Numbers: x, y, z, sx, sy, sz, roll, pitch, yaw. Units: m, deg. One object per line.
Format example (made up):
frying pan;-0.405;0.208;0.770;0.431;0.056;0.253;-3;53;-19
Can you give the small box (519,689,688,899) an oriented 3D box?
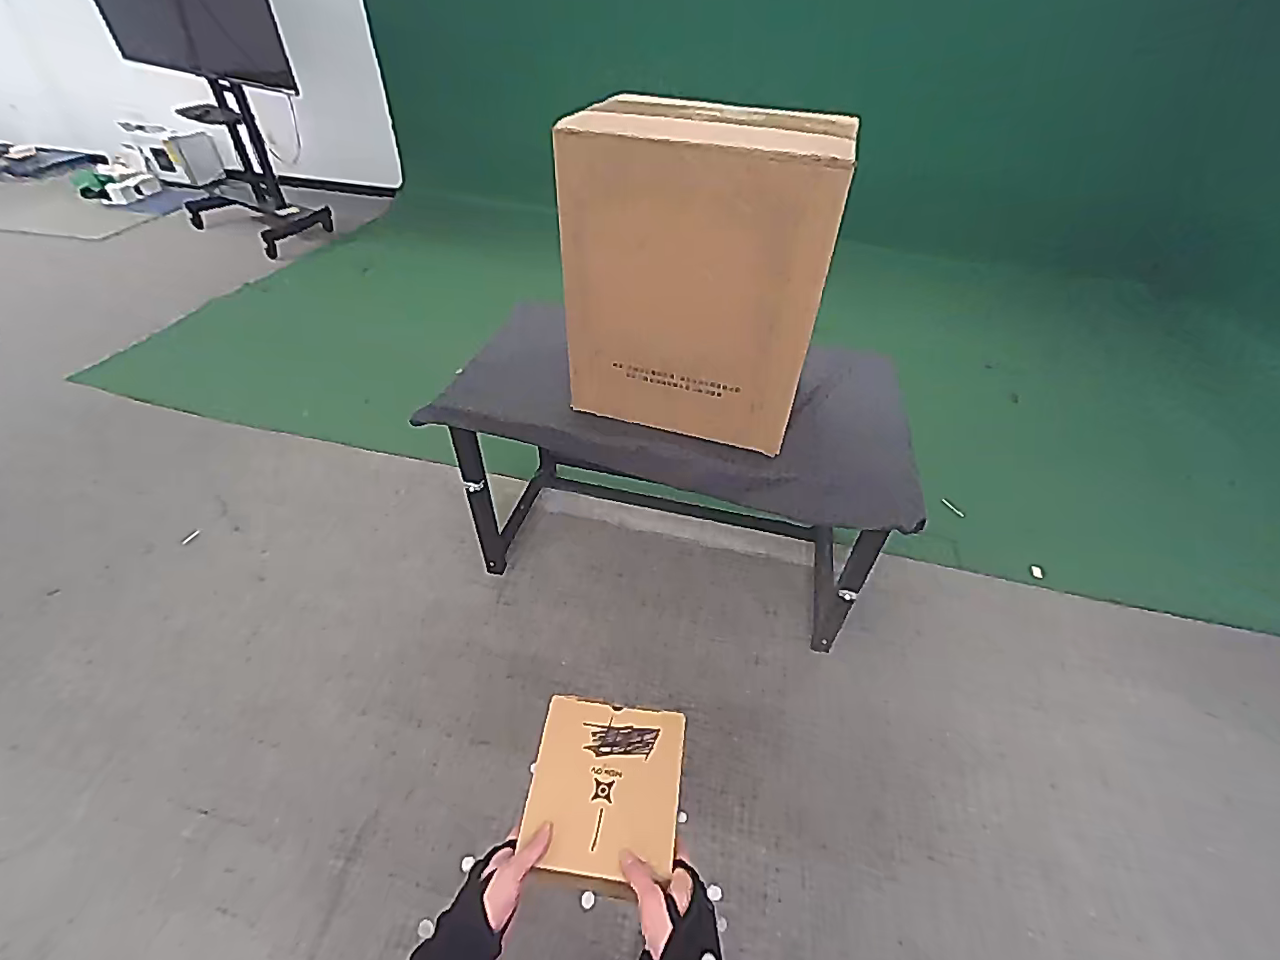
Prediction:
small box;-0.036;0.386;0.665;0.168;0.176;0.179;7;48;5
